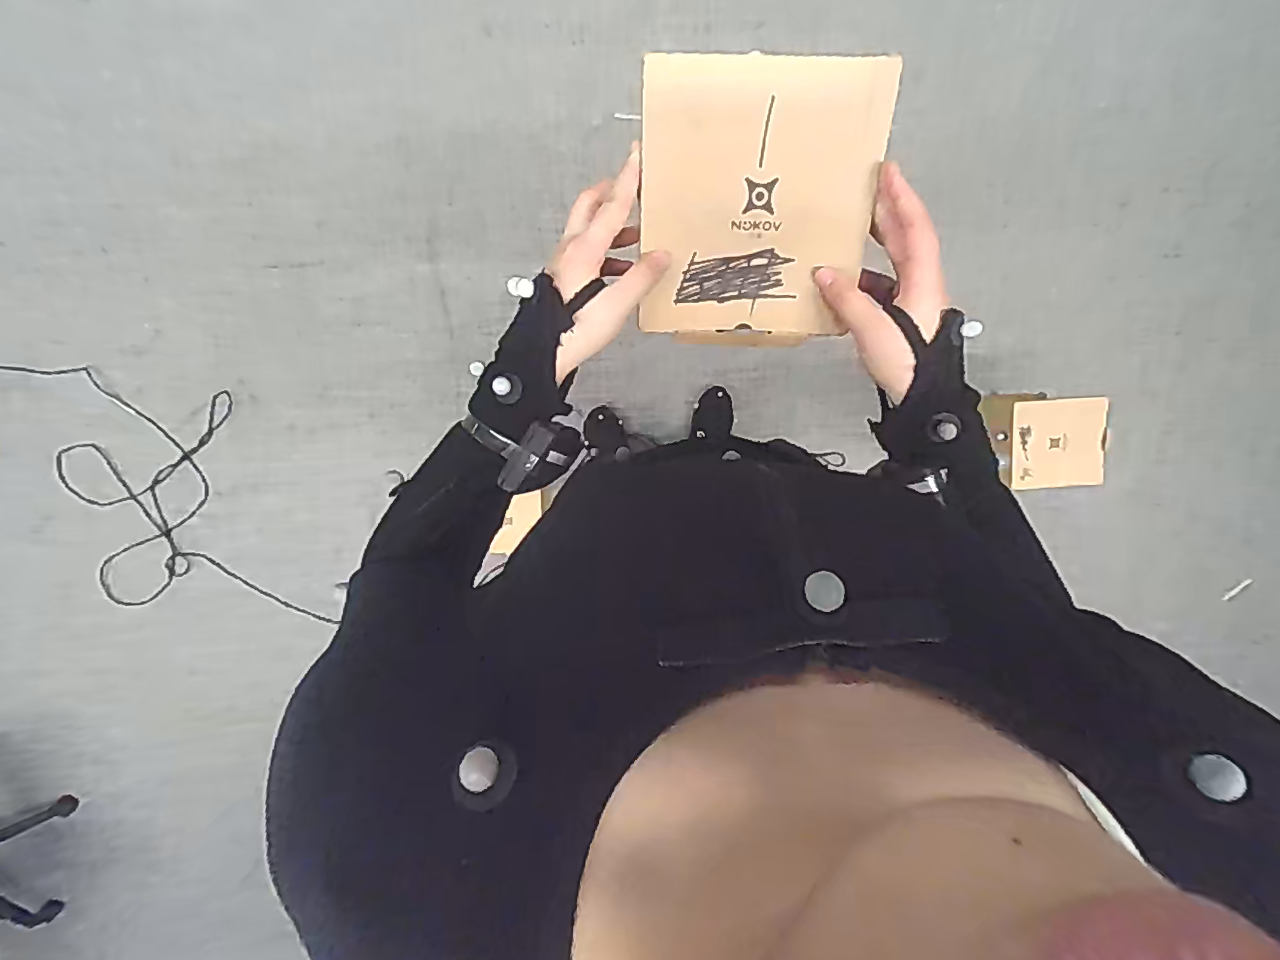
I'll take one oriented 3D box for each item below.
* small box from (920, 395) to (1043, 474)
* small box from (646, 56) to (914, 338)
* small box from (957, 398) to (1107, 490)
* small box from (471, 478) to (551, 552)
[{"bbox_3d":[0.776,-0.109,1.242,0.179,0.176,0.168,-3,98,1],"label":"small box"},{"bbox_3d":[0.090,-0.229,0.449,0.168,0.176,0.179,1,120,-1],"label":"small box"},{"bbox_3d":[0.773,-0.078,1.081,0.179,0.176,0.168,-4,98,-1],"label":"small box"},{"bbox_3d":[-0.329,0.087,1.412,0.179,0.176,0.168,0,98,0],"label":"small box"}]
